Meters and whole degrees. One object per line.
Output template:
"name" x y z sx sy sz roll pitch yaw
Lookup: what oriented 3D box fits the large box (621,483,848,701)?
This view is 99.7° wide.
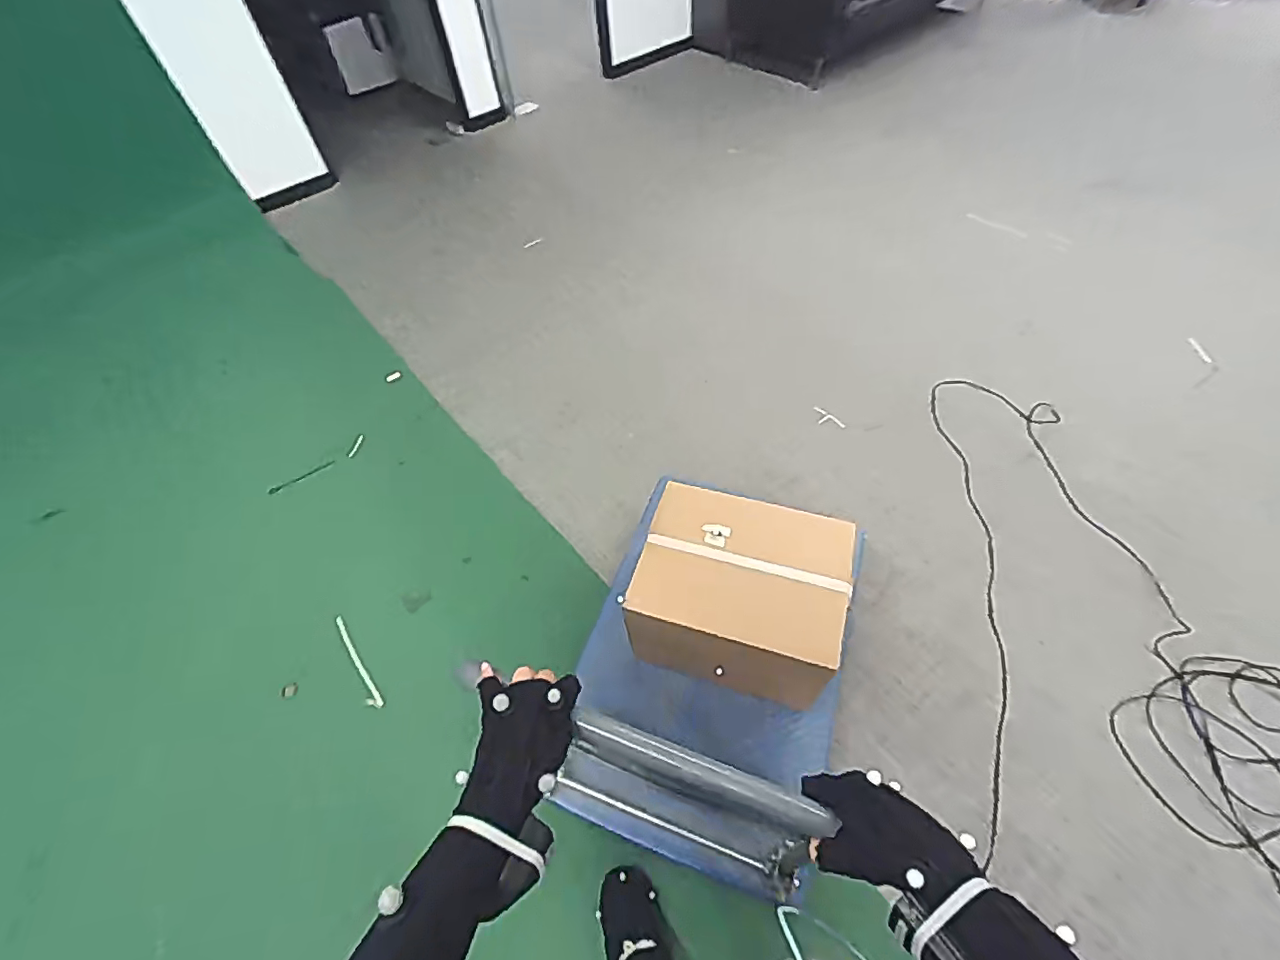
"large box" 0.209 0.249 1.195 0.408 0.320 0.320 13 56 14
